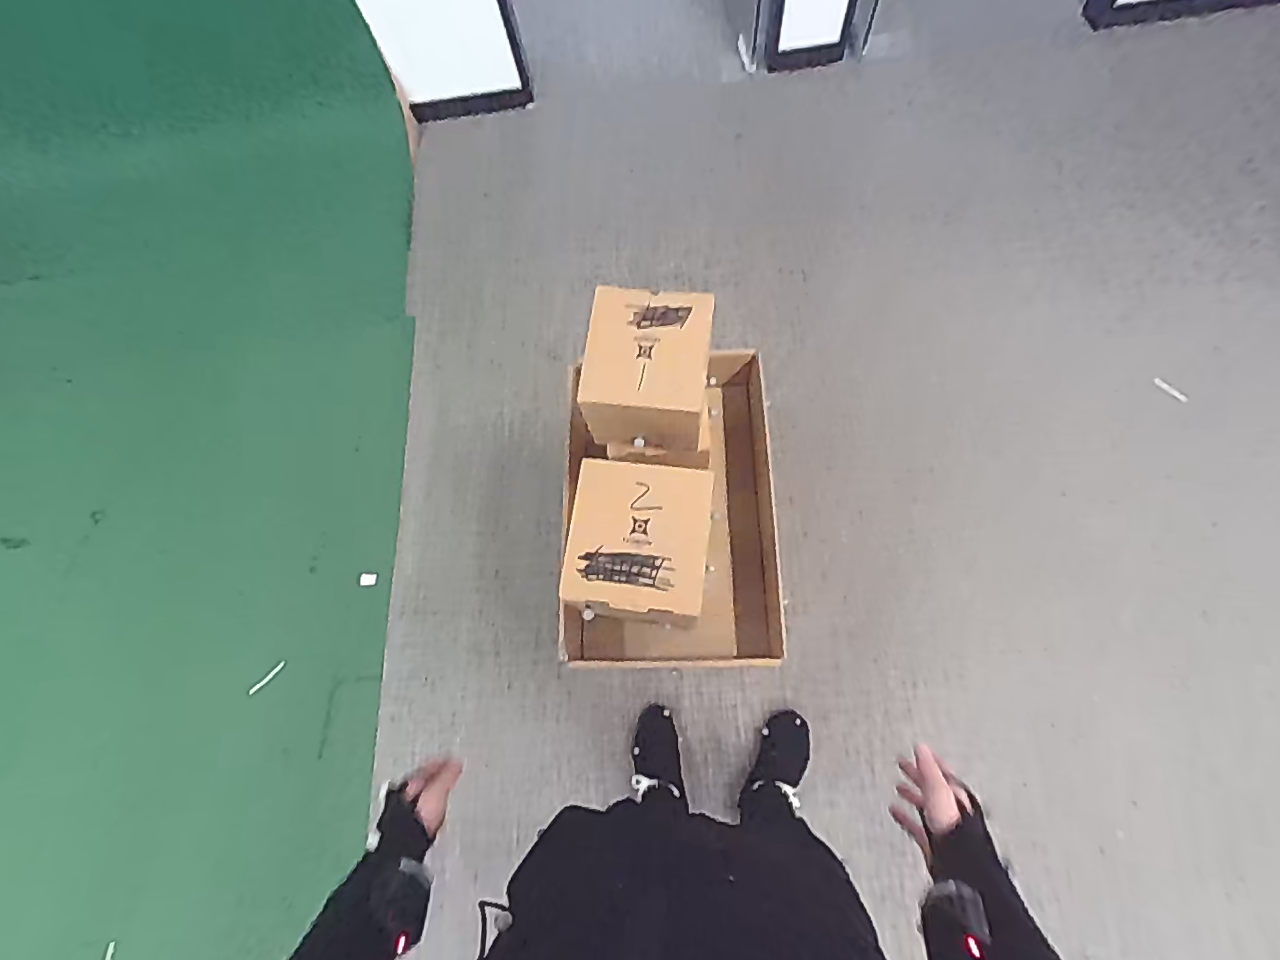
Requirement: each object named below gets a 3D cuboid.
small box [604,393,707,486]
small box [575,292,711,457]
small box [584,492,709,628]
[{"bbox_3d":[0.026,-0.098,0.956,0.168,0.176,0.179,-3,74,3],"label":"small box"},{"bbox_3d":[0.011,-0.149,0.801,0.168,0.176,0.179,6,75,6],"label":"small box"},{"bbox_3d":[0.017,0.137,0.875,0.168,0.176,0.179,8,71,7],"label":"small box"}]
